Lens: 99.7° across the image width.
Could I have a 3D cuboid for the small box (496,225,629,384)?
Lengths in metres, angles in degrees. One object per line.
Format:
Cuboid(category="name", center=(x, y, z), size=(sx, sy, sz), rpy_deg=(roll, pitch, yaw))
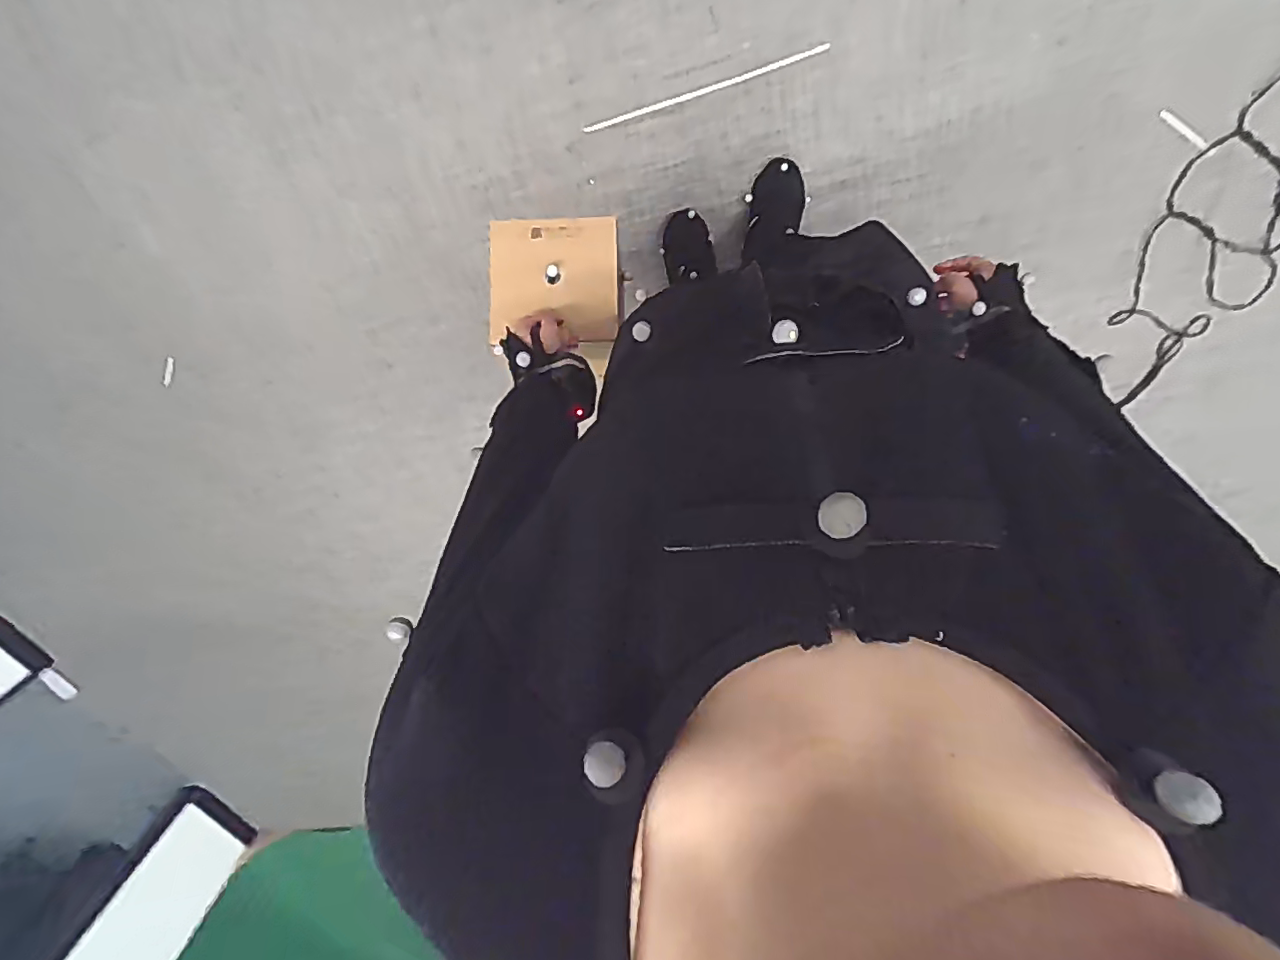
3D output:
Cuboid(category="small box", center=(-0.104, -0.246, 0.774), size=(0.168, 0.179, 0.176), rpy_deg=(-2, 84, 2))
